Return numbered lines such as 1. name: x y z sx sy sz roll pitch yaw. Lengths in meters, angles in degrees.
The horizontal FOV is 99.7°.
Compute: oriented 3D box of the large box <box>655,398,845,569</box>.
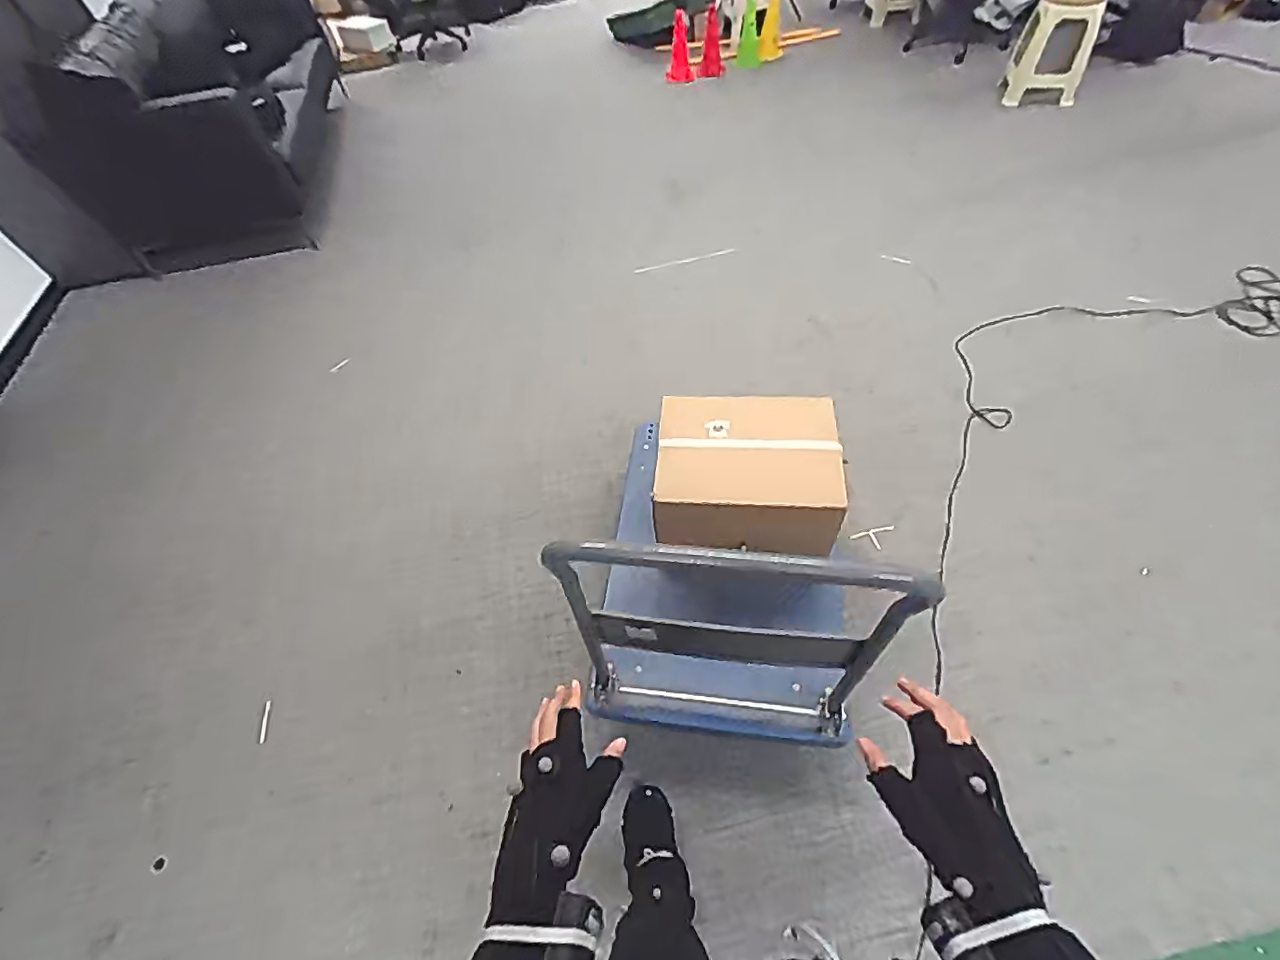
1. large box: 0.257 0.018 1.344 0.408 0.320 0.320 0 53 8
